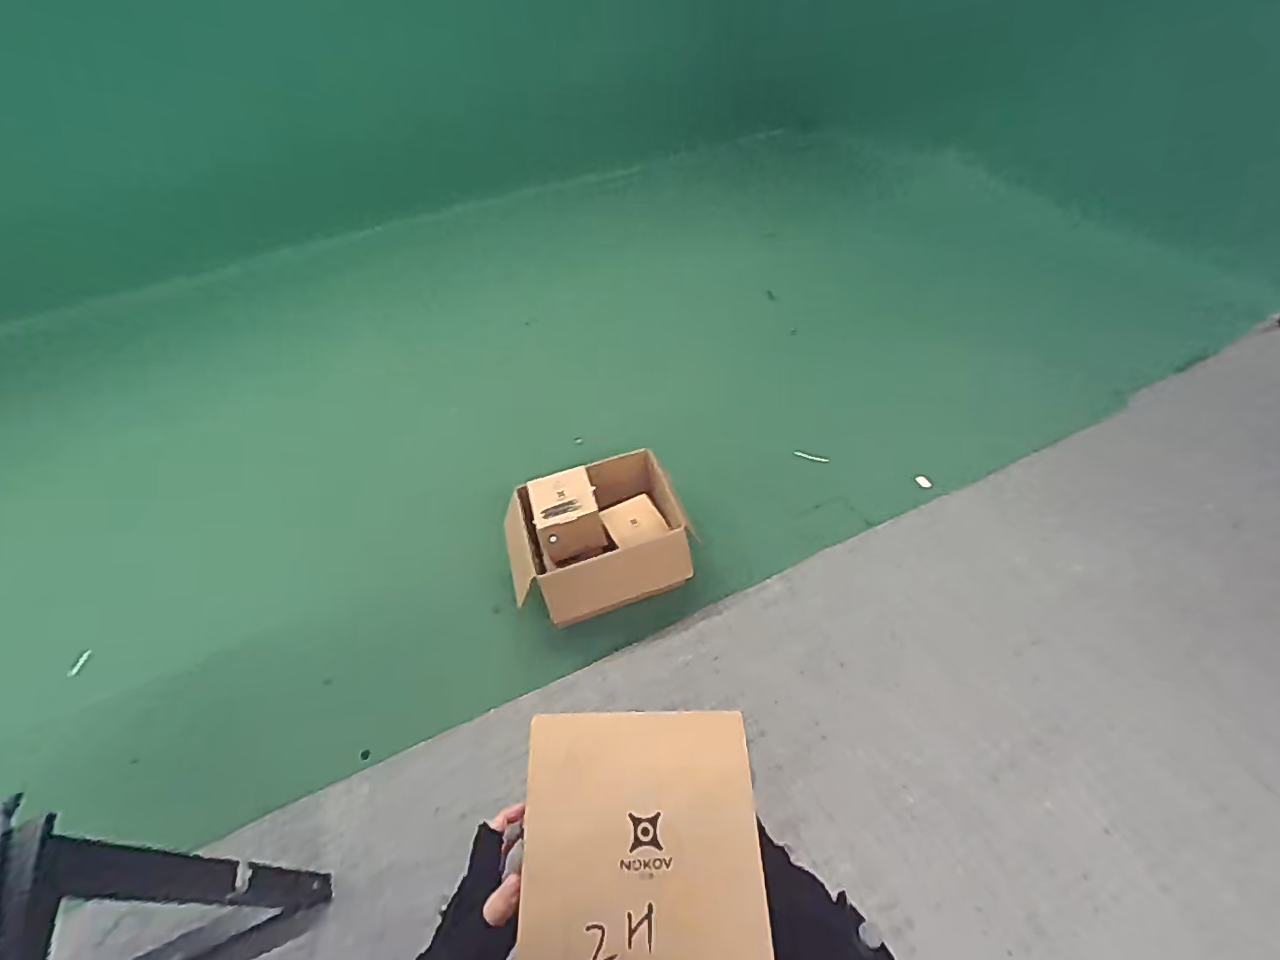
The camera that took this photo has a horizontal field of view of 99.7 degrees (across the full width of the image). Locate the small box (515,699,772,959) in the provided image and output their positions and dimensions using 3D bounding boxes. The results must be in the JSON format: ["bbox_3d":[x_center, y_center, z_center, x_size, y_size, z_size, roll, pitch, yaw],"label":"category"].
[{"bbox_3d":[-0.009,0.288,0.440,0.168,0.176,0.179,2,57,-8],"label":"small box"}]
